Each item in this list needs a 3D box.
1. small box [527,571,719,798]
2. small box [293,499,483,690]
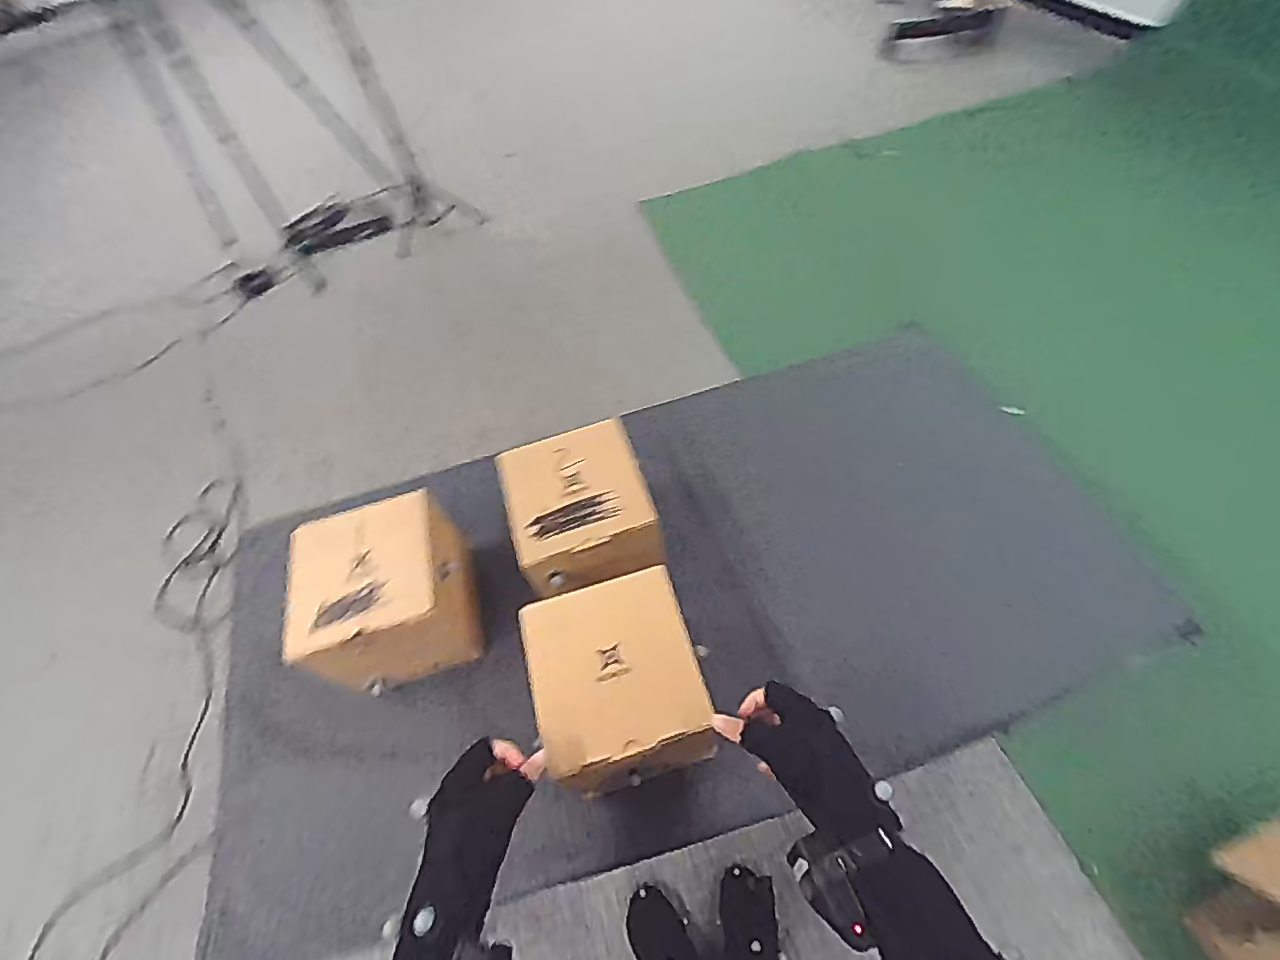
[{"bbox_3d":[-0.018,0.236,0.618,0.168,0.176,0.179,-17,54,-4],"label":"small box"},{"bbox_3d":[-0.318,0.158,0.709,0.168,0.176,0.179,-18,55,-5],"label":"small box"}]
